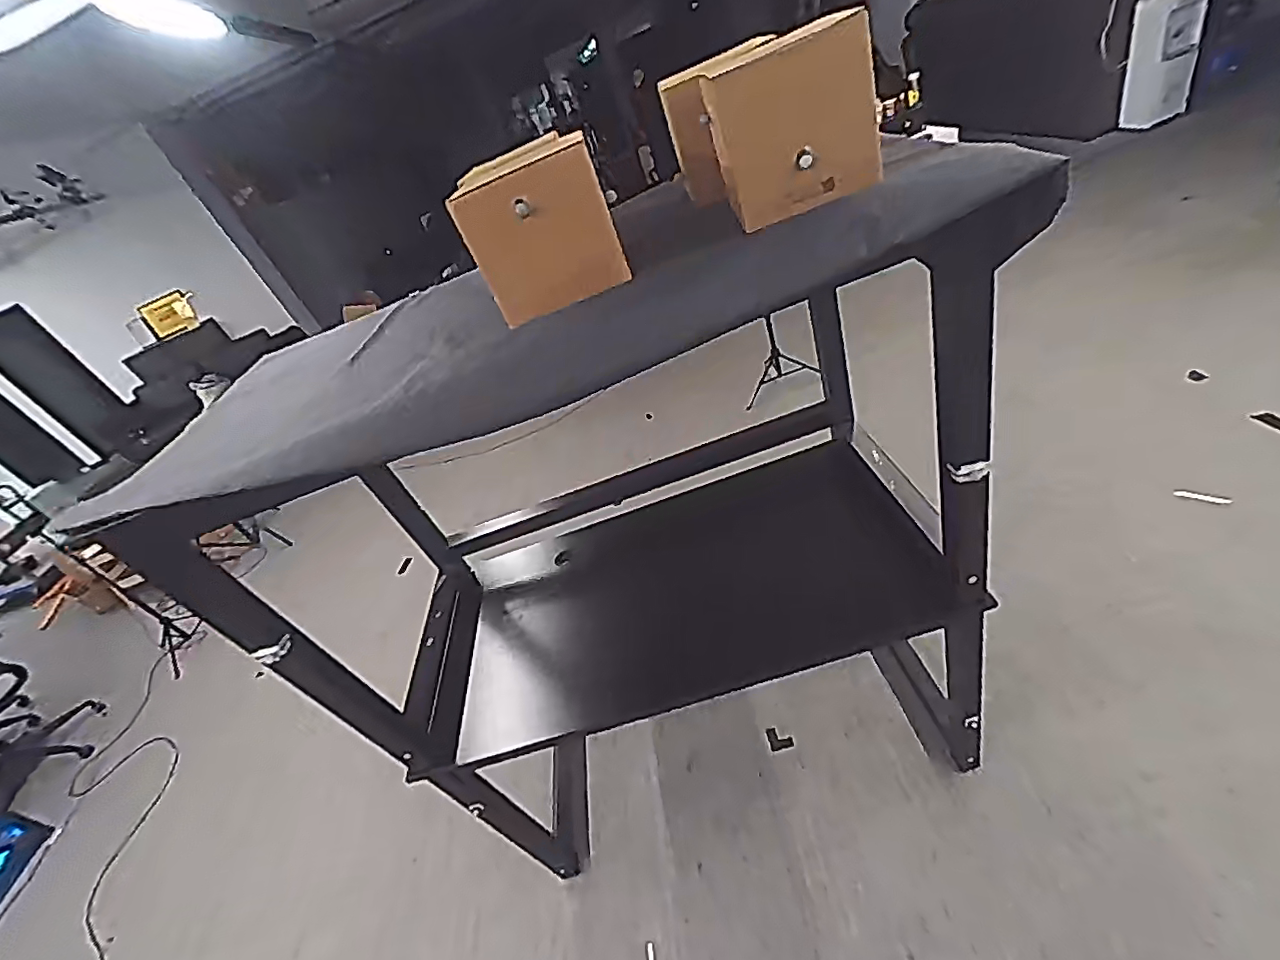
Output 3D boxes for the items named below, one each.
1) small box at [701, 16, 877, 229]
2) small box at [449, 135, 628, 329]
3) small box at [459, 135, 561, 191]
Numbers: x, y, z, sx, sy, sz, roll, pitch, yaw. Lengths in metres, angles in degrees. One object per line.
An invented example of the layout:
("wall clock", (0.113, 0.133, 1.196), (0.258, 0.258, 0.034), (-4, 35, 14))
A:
("small box", (0.181, -0.437, 0.676), (0.168, 0.176, 0.179), (-16, 36, 13))
("small box", (-0.122, -0.332, 0.727), (0.179, 0.176, 0.168), (-20, 35, 7))
("small box", (-0.183, -0.466, 0.932), (0.168, 0.176, 0.179), (-21, 36, 7))
